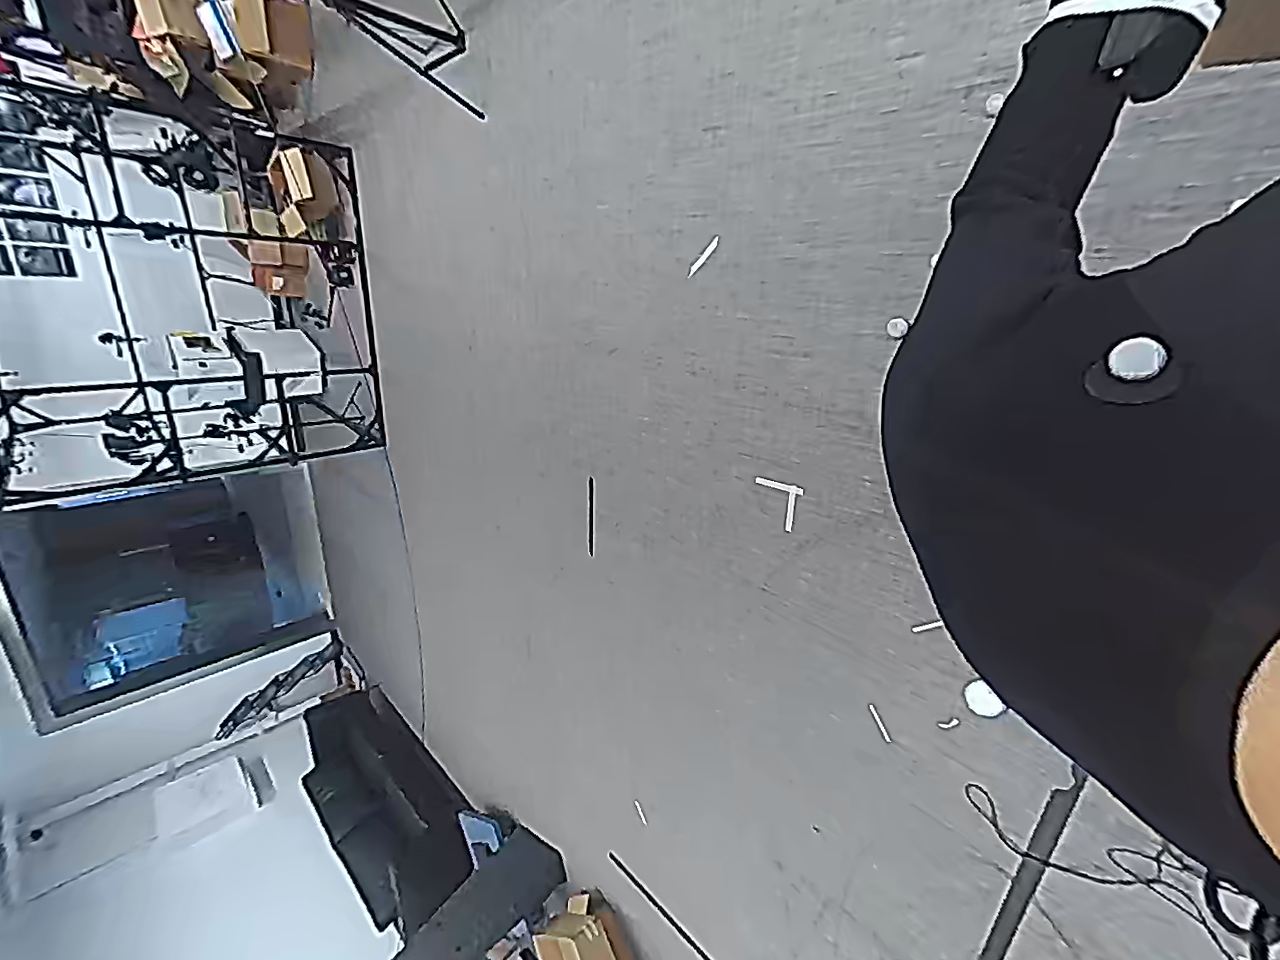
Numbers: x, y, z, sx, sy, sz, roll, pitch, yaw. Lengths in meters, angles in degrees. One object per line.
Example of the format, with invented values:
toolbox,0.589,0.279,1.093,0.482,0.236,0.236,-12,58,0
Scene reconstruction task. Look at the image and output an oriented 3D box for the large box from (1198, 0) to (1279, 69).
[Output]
large box,0.601,-0.449,0.259,0.408,0.320,0.320,24,123,39
